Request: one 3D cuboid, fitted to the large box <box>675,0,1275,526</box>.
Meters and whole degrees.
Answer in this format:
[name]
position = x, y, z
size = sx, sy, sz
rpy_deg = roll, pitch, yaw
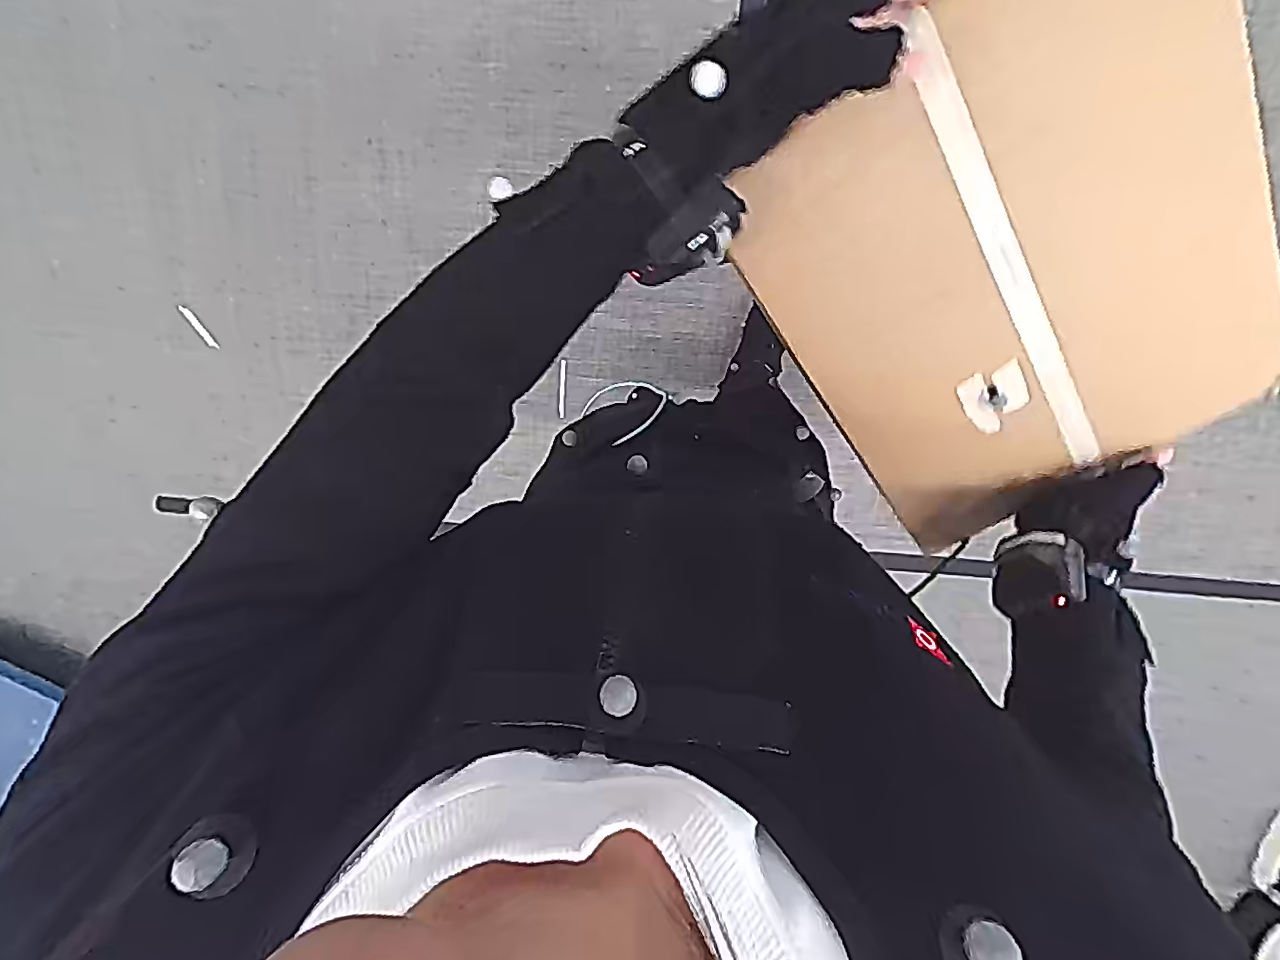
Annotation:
[large box]
position = 0.281, -0.240, 0.543
size = 0.320, 0.320, 0.408
rpy_deg = -34, 116, 20
